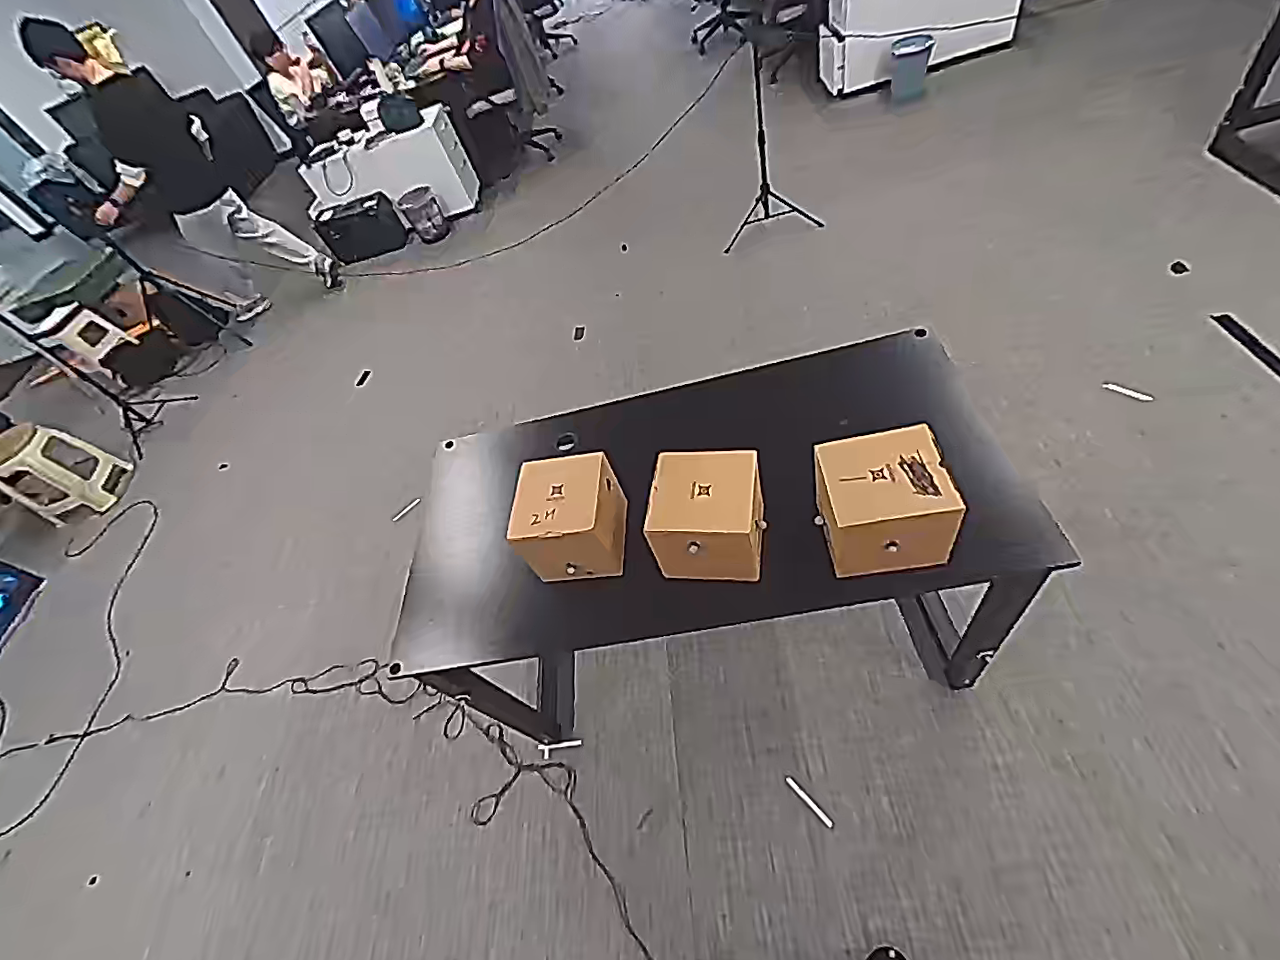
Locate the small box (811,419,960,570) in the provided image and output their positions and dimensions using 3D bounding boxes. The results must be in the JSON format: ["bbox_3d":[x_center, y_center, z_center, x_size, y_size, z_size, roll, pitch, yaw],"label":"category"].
[{"bbox_3d":[0.385,0.030,0.882,0.179,0.176,0.168,-11,51,12],"label":"small box"}]

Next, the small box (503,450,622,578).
[{"bbox_3d":[-0.136,0.068,1.031,0.168,0.176,0.179,-8,53,13],"label":"small box"}]

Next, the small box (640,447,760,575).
[{"bbox_3d":[0.116,0.058,0.955,0.179,0.176,0.168,-2,54,19],"label":"small box"}]
